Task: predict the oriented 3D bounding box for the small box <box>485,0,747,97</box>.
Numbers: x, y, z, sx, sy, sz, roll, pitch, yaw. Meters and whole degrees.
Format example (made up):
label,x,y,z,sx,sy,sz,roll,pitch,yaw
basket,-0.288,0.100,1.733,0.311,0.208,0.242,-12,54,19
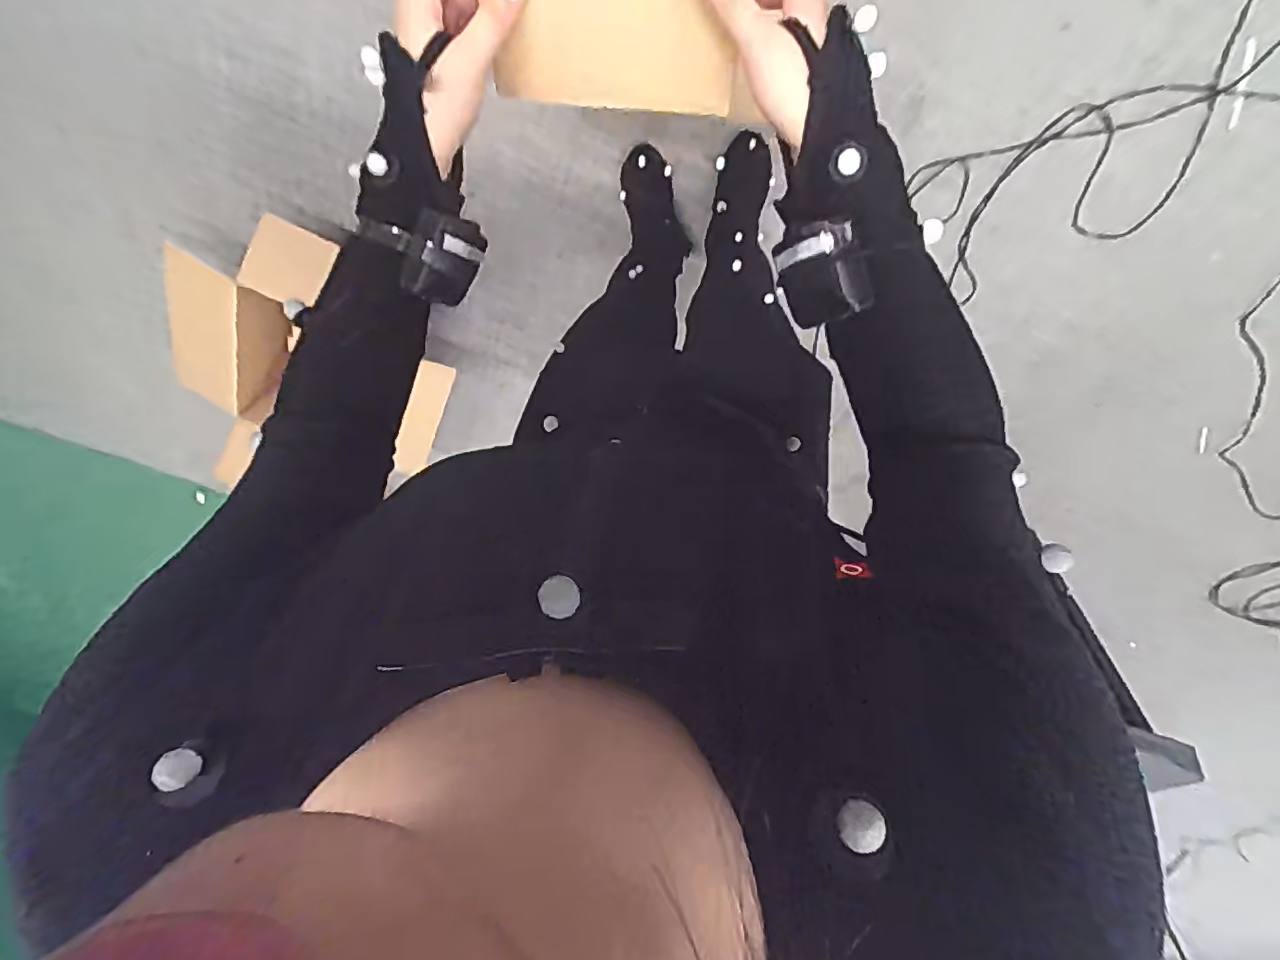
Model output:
label,x,y,z,sx,sy,sz,roll,pitch,yaw
small box,-0.008,-0.398,0.372,0.179,0.176,0.168,7,148,4
